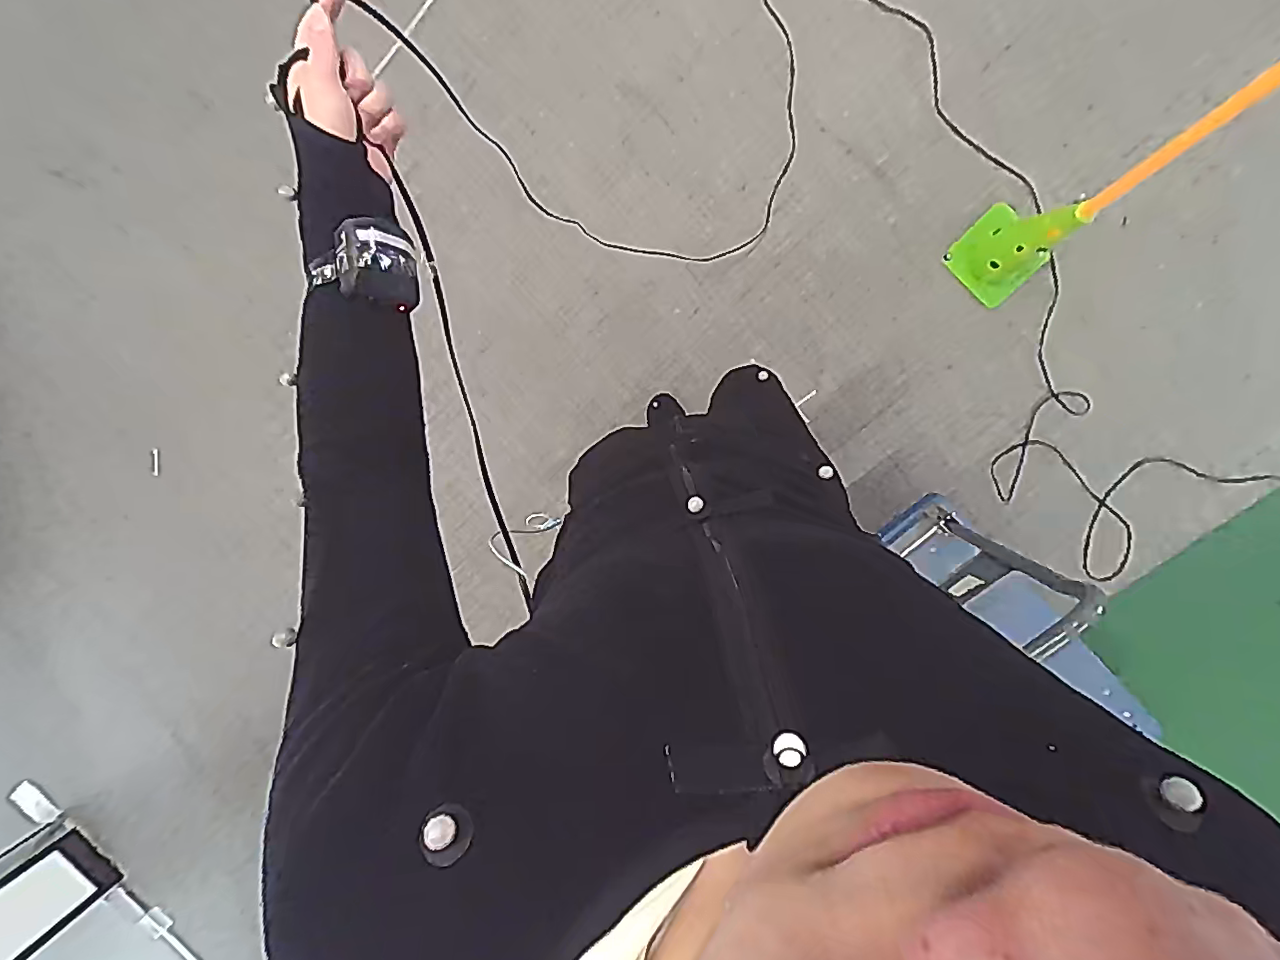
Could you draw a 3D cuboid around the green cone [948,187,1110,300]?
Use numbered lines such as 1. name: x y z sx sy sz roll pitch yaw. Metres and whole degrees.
1. green cone: 0.911 -0.570 1.225 0.200 0.368 0.202 44 101 -2
